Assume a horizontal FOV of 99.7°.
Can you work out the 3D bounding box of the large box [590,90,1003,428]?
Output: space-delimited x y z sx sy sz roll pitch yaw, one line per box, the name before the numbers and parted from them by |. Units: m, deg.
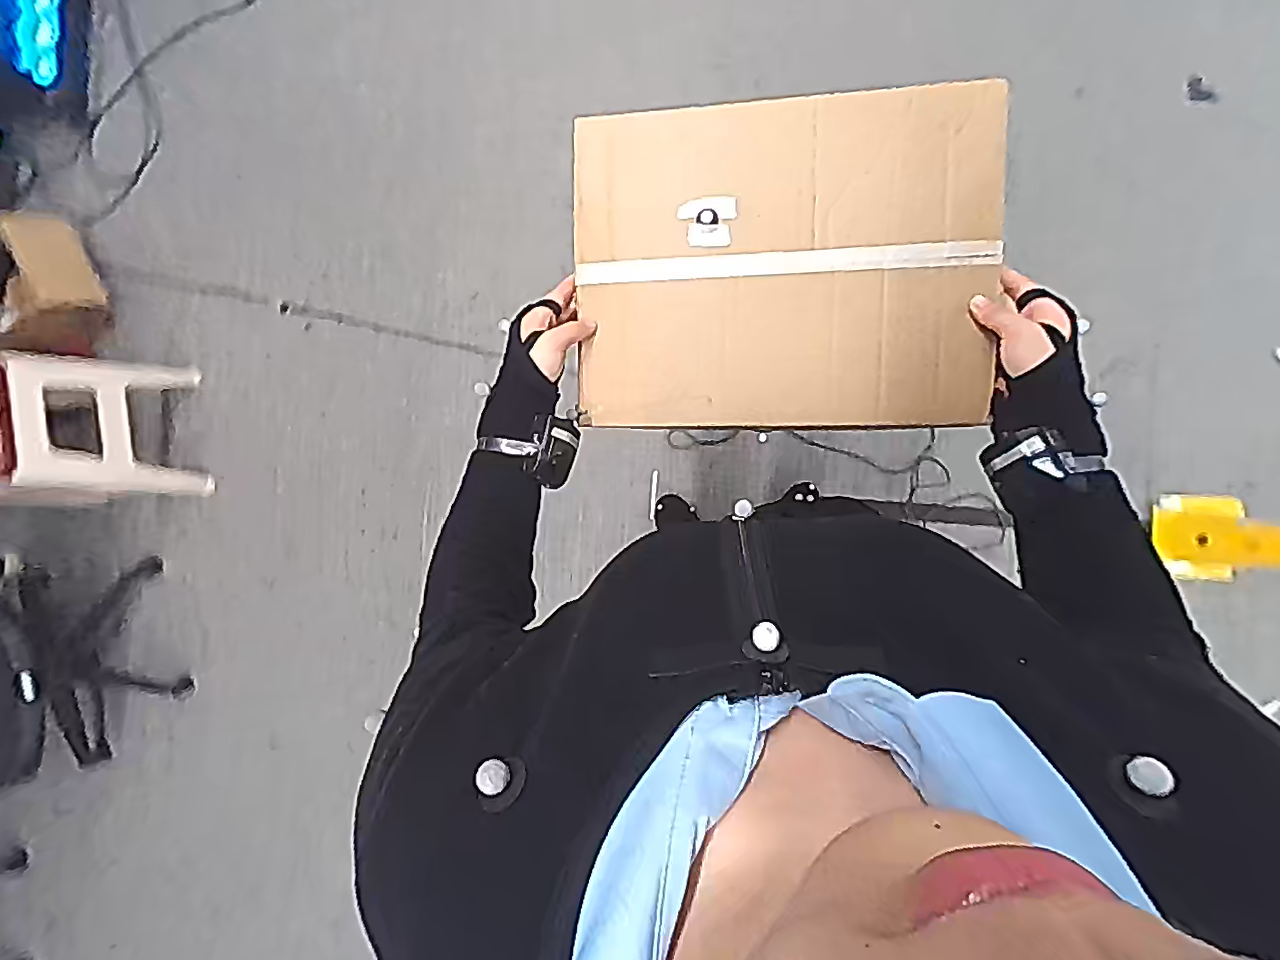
large box | 0.170 -0.224 0.691 0.408 0.320 0.320 1 94 9
